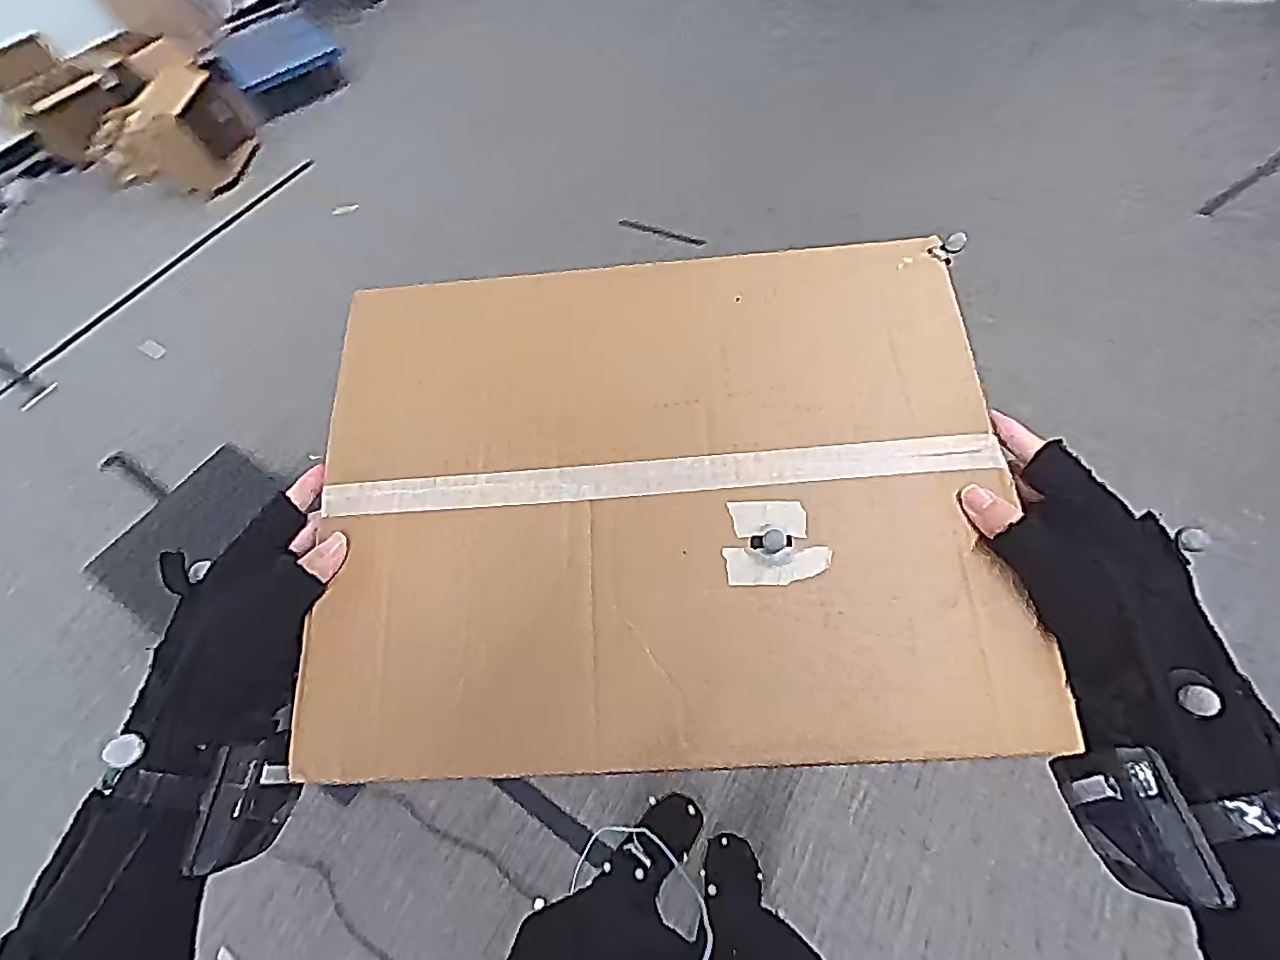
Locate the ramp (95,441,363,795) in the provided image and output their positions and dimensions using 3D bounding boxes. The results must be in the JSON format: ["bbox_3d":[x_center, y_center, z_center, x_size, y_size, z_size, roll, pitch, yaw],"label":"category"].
[{"bbox_3d":[-0.973,0.321,1.488,0.991,0.206,0.509,27,67,21],"label":"ramp"}]

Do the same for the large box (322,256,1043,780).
[{"bbox_3d":[0.015,0.051,0.481,0.408,0.320,0.320,-5,72,2],"label":"large box"}]
